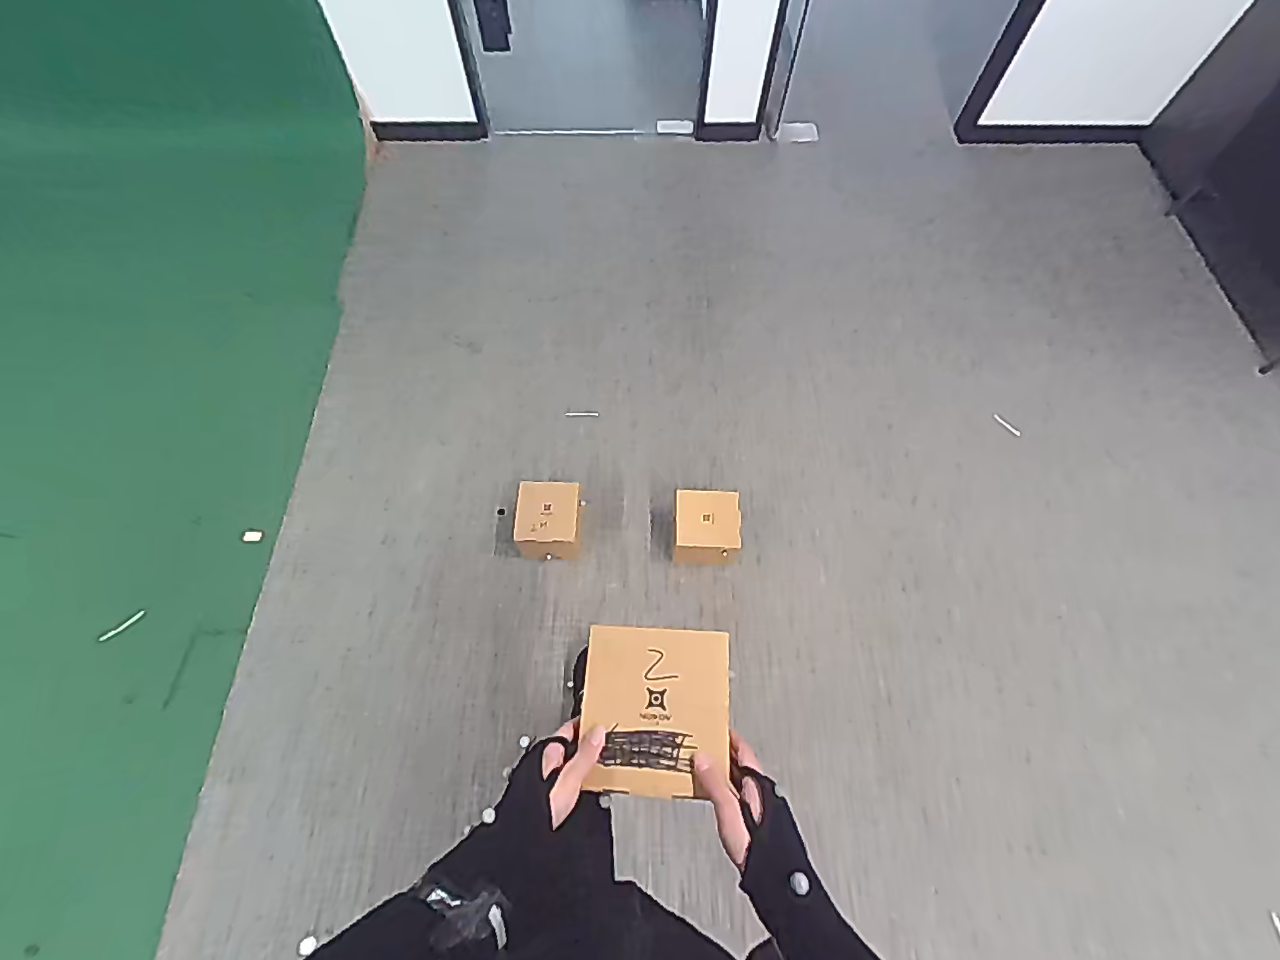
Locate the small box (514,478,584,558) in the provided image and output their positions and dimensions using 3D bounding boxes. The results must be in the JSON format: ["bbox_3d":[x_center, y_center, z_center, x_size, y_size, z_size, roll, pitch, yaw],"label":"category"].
[{"bbox_3d":[-0.250,0.109,1.526,0.168,0.176,0.179,1,64,0],"label":"small box"}]

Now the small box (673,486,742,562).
[{"bbox_3d":[0.185,0.128,1.524,0.179,0.176,0.168,2,65,-1],"label":"small box"}]
